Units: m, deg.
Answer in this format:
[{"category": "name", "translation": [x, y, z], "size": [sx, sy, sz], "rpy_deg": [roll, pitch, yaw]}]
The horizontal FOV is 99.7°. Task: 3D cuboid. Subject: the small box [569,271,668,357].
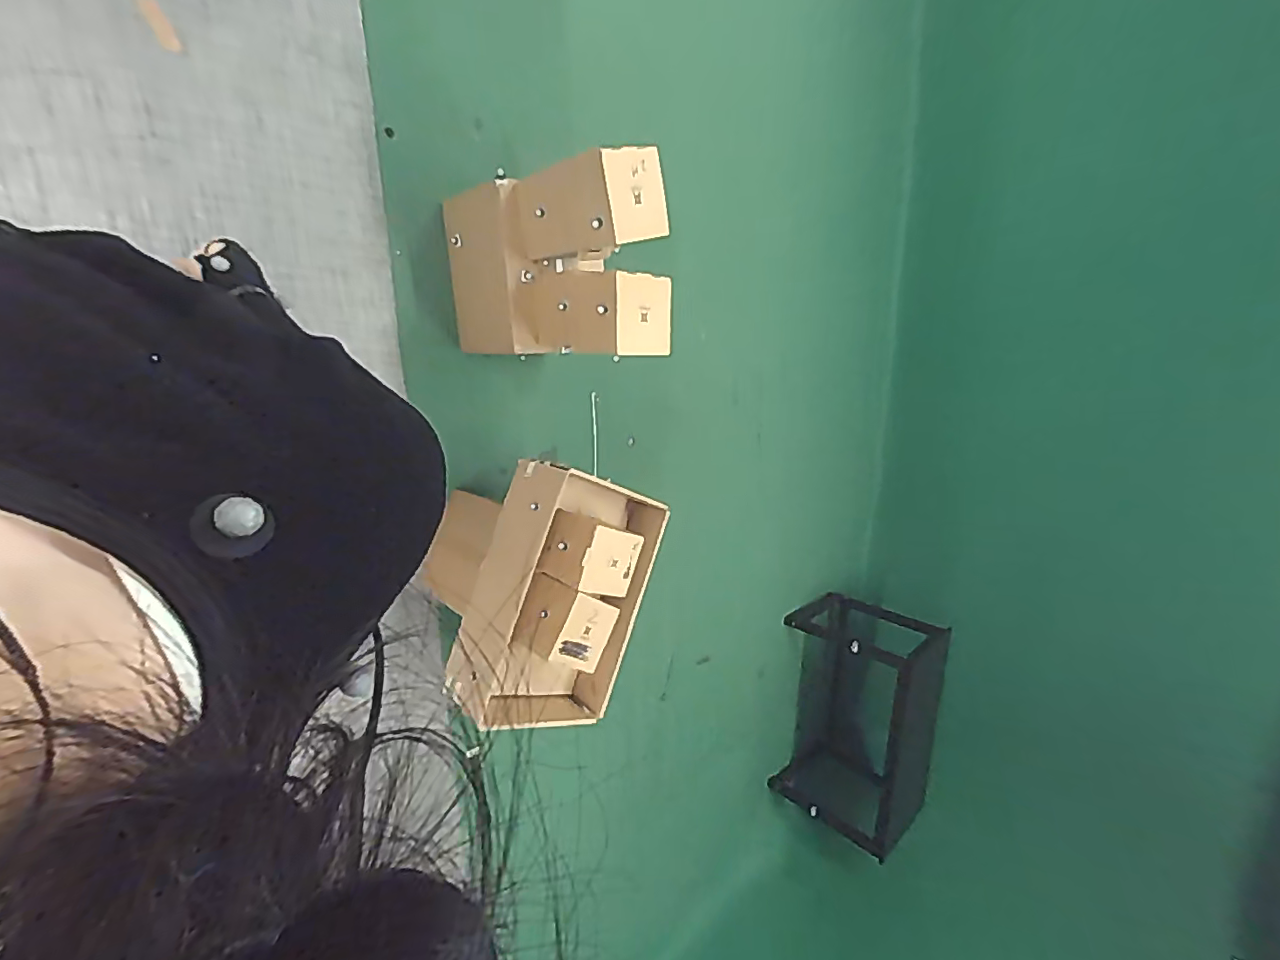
[{"category": "small box", "translation": [-0.052, -0.376, 1.252], "size": [0.168, 0.176, 0.179], "rpy_deg": [-11, 106, -41]}]
